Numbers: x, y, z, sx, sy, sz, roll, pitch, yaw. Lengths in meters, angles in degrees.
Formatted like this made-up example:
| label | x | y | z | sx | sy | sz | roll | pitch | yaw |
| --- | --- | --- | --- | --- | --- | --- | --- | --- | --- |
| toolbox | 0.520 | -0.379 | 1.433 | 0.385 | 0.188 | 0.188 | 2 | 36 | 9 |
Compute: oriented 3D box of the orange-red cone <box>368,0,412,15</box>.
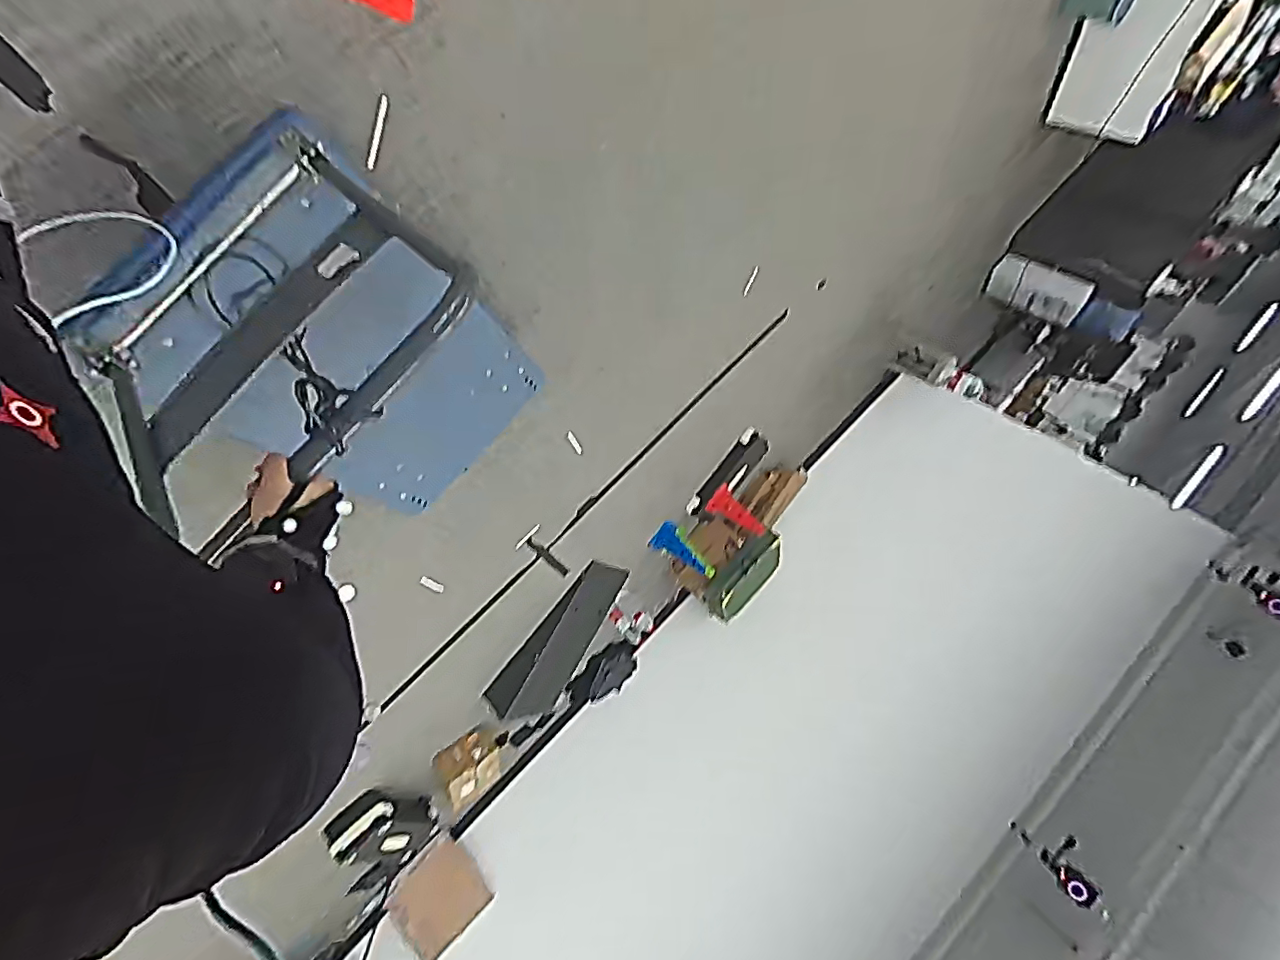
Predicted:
| label | x | y | z | sx | sy | sz | roll | pitch | yaw |
| --- | --- | --- | --- | --- | --- | --- | --- | --- | --- |
| orange-red cone | -0.372 | -0.867 | 0.863 | 0.198 | 0.360 | 0.199 | -13 | 136 | -47 |
